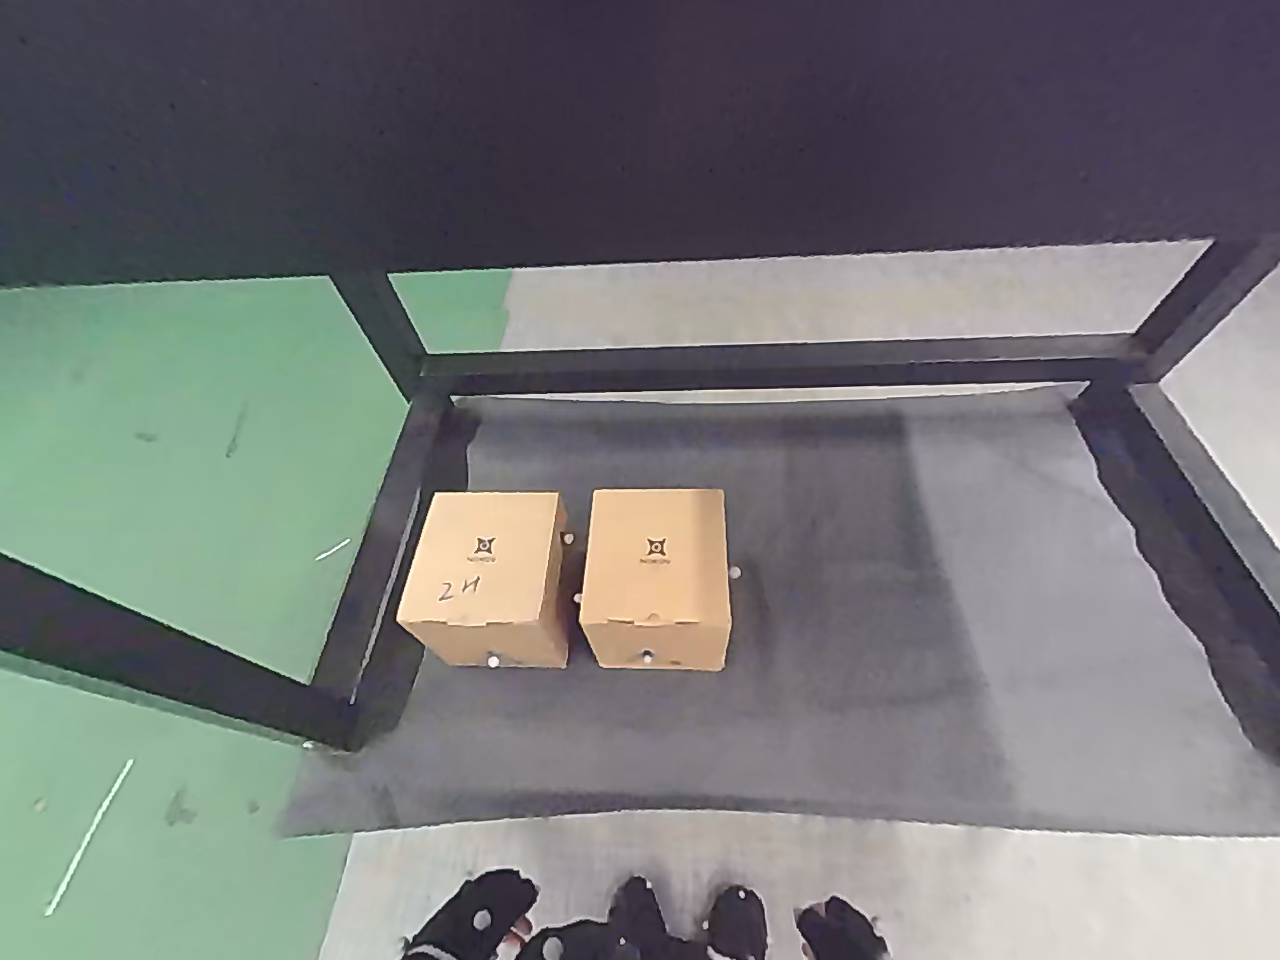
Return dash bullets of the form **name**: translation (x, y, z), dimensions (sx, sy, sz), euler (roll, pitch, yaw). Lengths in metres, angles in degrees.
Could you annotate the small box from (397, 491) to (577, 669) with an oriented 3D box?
- **small box**: translation (-0.182, 0.132, 0.709), dimensions (0.168, 0.176, 0.179), euler (0, 54, 5)
